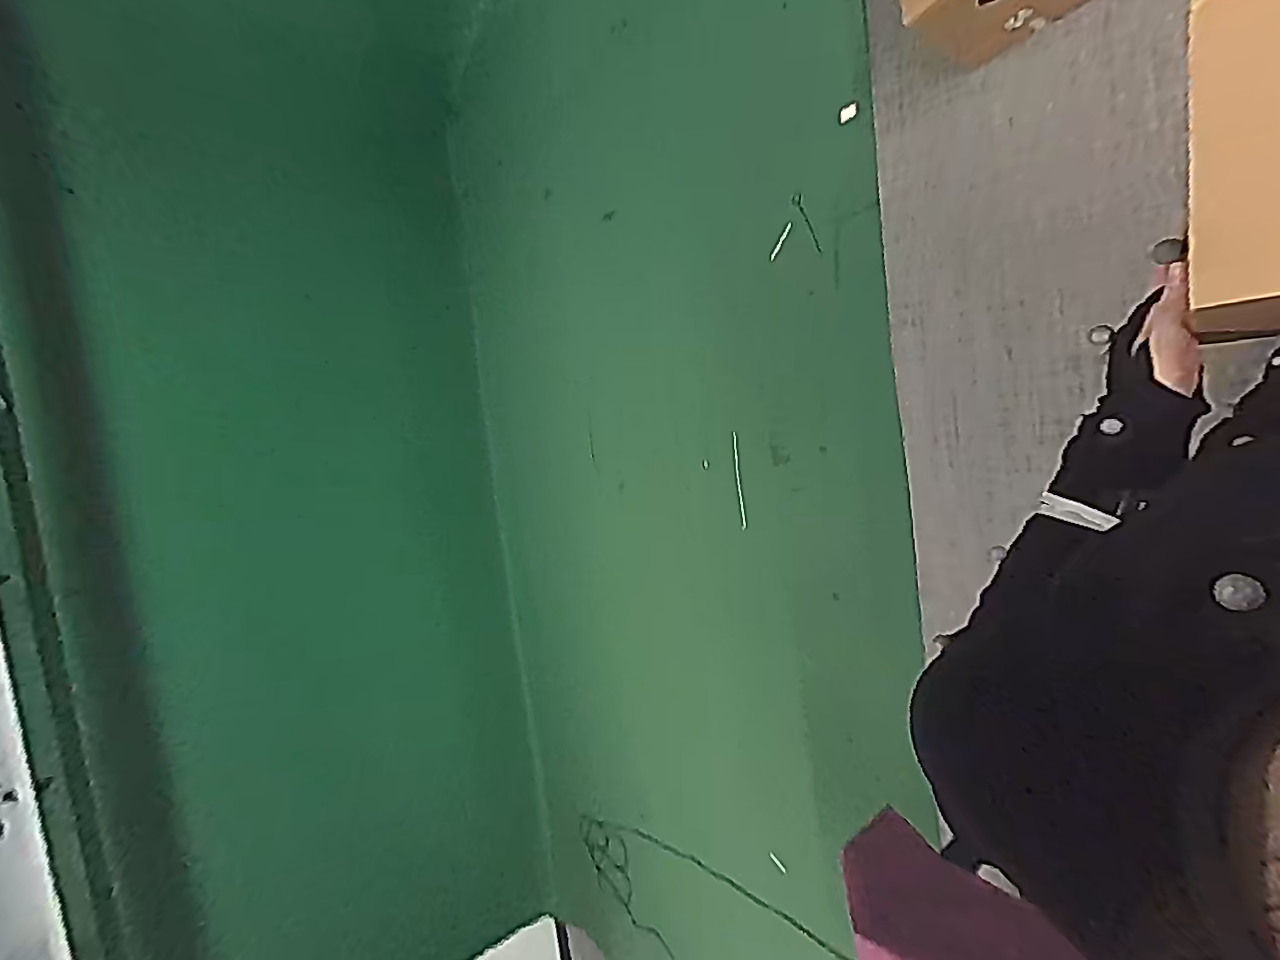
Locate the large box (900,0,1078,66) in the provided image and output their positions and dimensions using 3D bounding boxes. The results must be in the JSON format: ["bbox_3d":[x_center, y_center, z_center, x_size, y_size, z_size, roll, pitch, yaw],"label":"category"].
[{"bbox_3d":[0.726,-1.161,1.071,0.320,0.320,0.408,-4,94,54],"label":"large box"}]

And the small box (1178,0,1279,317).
[{"bbox_3d":[0.423,-0.196,0.300,0.168,0.176,0.179,2,94,47],"label":"small box"}]
